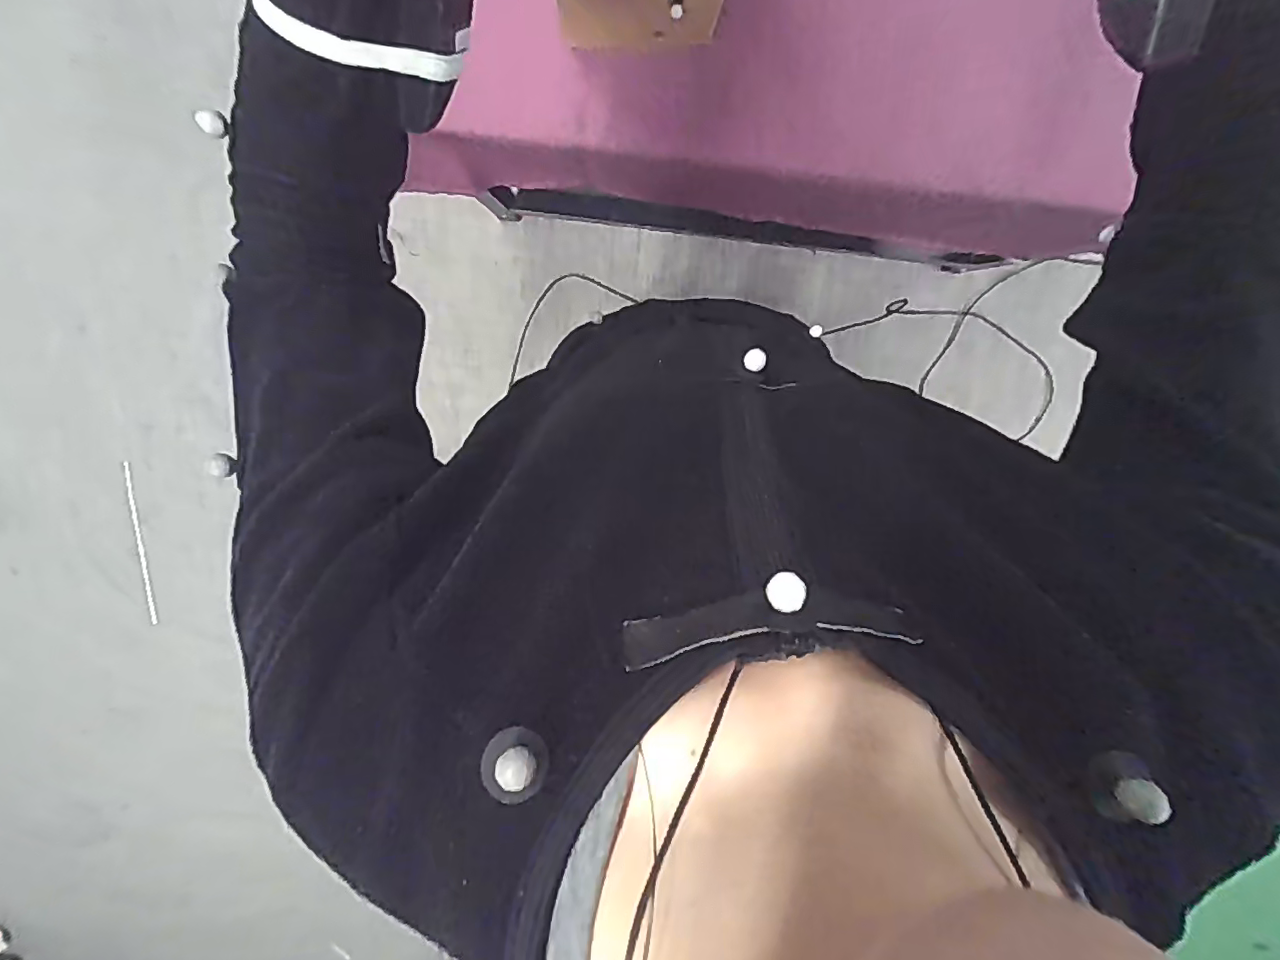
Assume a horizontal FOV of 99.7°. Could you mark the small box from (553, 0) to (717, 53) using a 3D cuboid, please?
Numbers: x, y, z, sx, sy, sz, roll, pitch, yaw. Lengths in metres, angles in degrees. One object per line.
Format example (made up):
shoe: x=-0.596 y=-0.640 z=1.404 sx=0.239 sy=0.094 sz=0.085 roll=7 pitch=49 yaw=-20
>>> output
small box: x=-0.005 y=-0.548 z=0.520 sx=0.168 sy=0.176 sz=0.179 roll=-2 pitch=105 yaw=-2
